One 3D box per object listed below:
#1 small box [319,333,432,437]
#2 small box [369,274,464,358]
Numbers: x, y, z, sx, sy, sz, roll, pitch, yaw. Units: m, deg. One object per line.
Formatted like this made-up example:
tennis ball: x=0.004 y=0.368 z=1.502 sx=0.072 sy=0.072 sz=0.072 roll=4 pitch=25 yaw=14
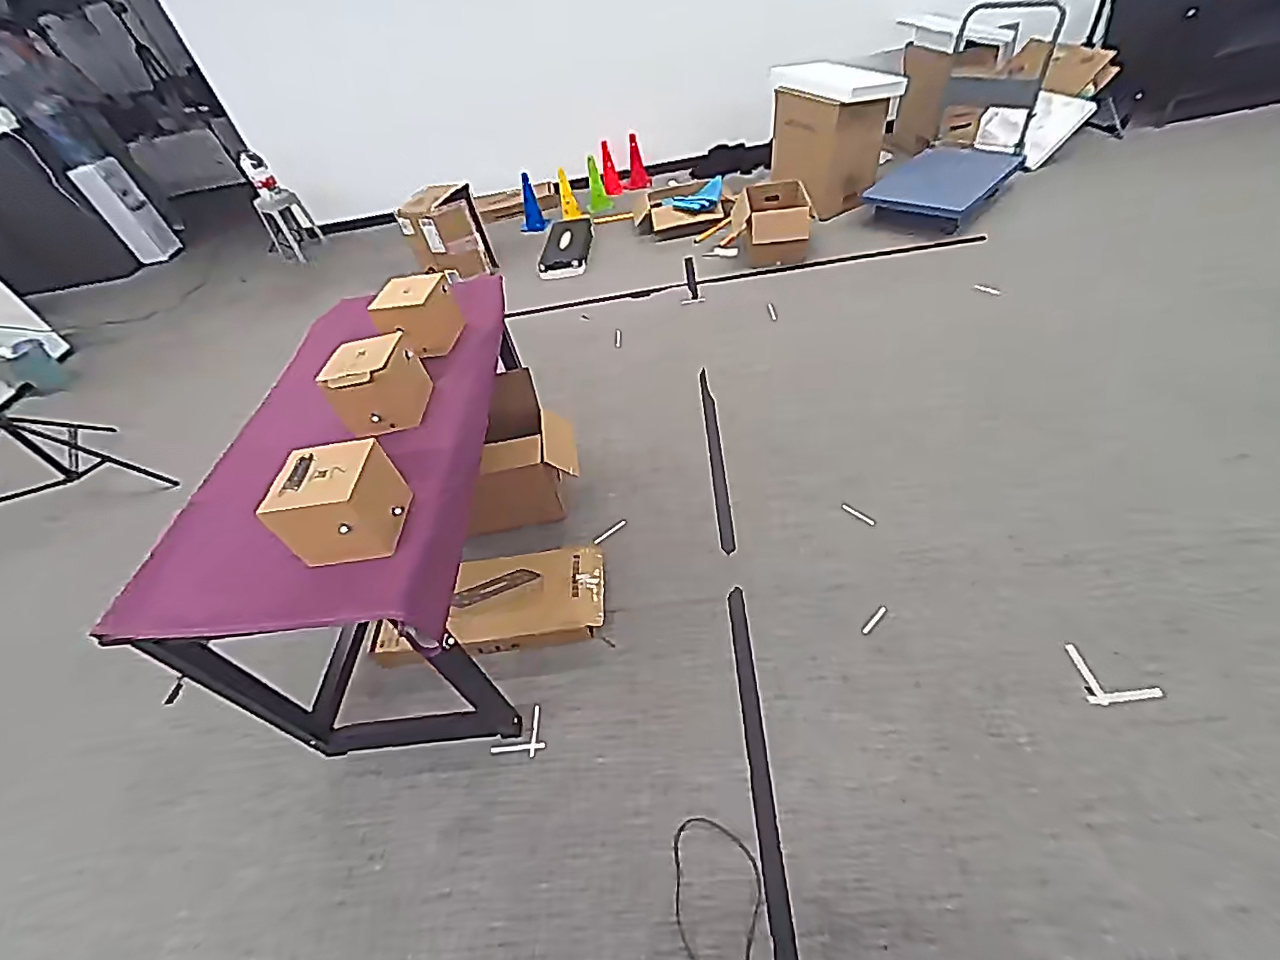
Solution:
small box: x=-0.636 y=-0.231 z=1.328 sx=0.168 sy=0.176 sz=0.179 roll=-10 pitch=46 yaw=6
small box: x=-0.629 y=-0.462 z=1.548 sx=0.168 sy=0.176 sz=0.179 roll=-3 pitch=46 yaw=9
